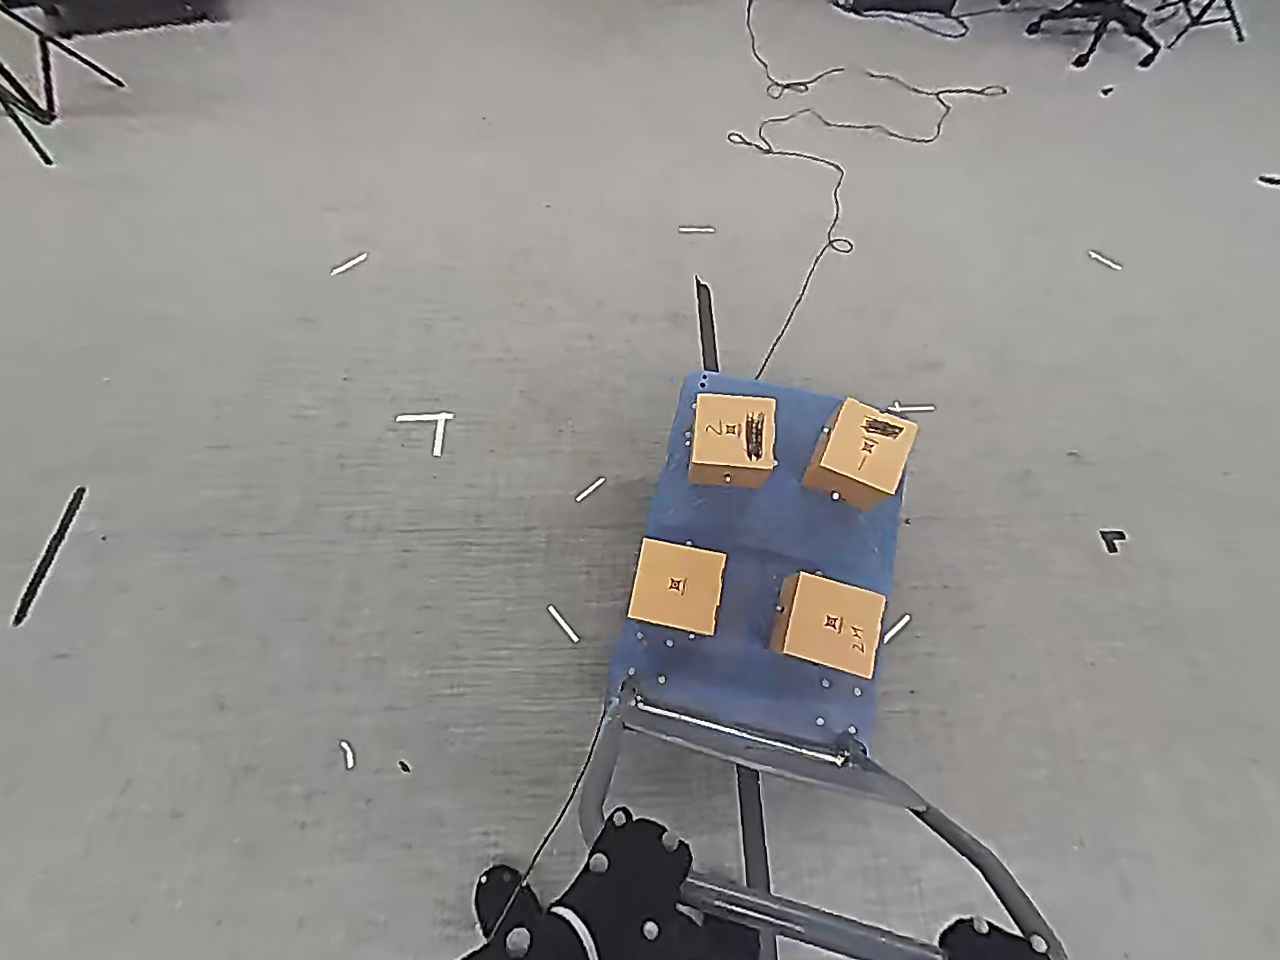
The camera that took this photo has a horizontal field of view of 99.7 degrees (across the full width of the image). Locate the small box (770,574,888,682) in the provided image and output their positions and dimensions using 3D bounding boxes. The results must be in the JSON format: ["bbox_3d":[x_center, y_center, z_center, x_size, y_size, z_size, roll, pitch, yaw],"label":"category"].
[{"bbox_3d":[0.386,0.309,1.133,0.179,0.176,0.168,17,76,7],"label":"small box"}]

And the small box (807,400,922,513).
[{"bbox_3d":[0.501,-0.047,1.231,0.168,0.176,0.179,25,77,9],"label":"small box"}]

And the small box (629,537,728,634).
[{"bbox_3d":[0.080,0.234,1.167,0.179,0.176,0.168,12,75,4],"label":"small box"}]
